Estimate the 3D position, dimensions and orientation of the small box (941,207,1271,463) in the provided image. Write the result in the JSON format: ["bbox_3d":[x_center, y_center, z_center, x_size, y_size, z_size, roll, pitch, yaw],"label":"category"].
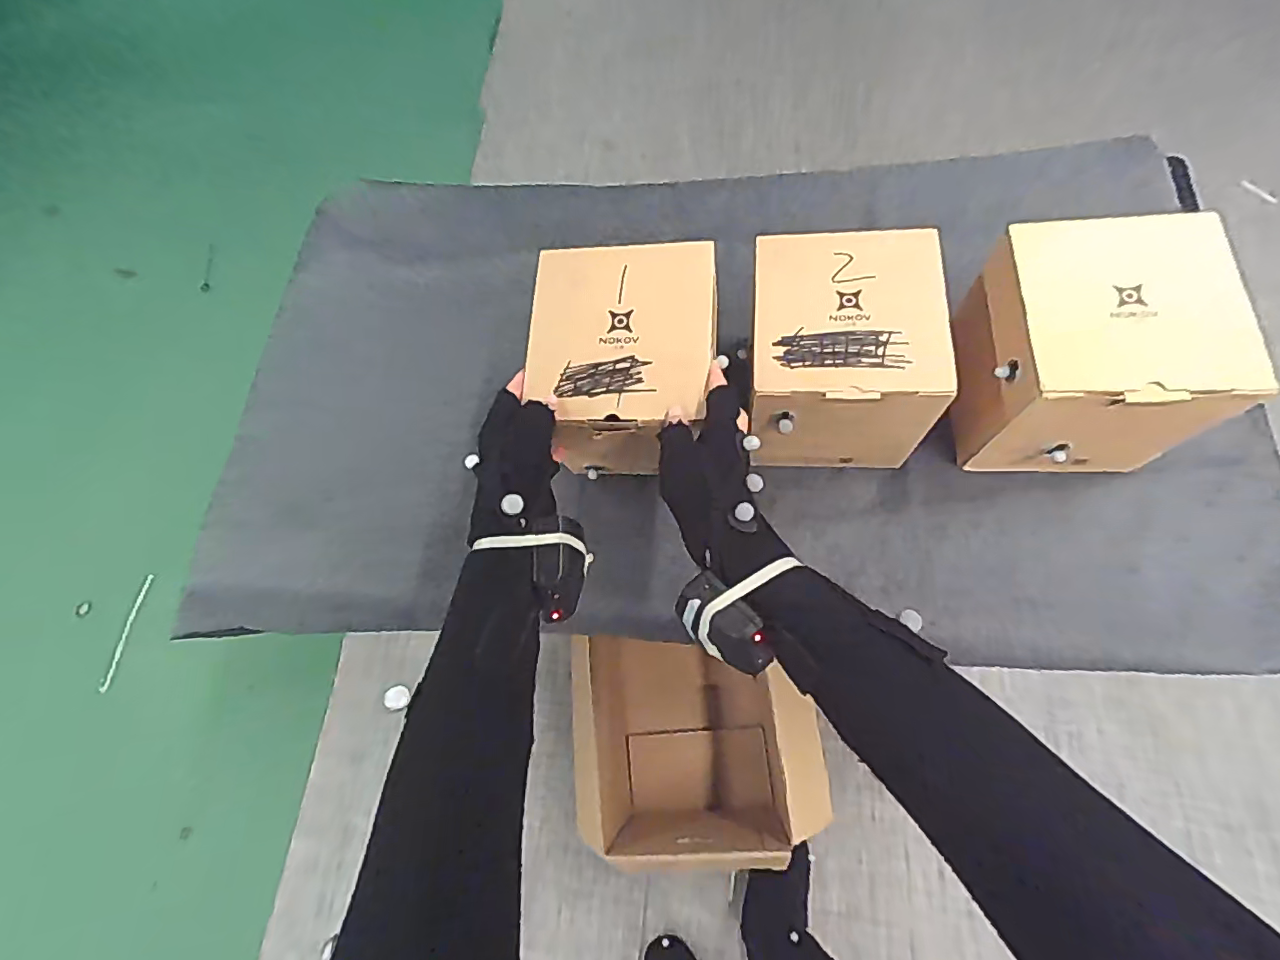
[{"bbox_3d":[0.414,-0.128,0.524,0.168,0.176,0.179,0,71,9],"label":"small box"}]

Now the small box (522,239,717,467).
[{"bbox_3d":[-0.007,-0.114,0.556,0.168,0.176,0.179,0,76,10],"label":"small box"}]
